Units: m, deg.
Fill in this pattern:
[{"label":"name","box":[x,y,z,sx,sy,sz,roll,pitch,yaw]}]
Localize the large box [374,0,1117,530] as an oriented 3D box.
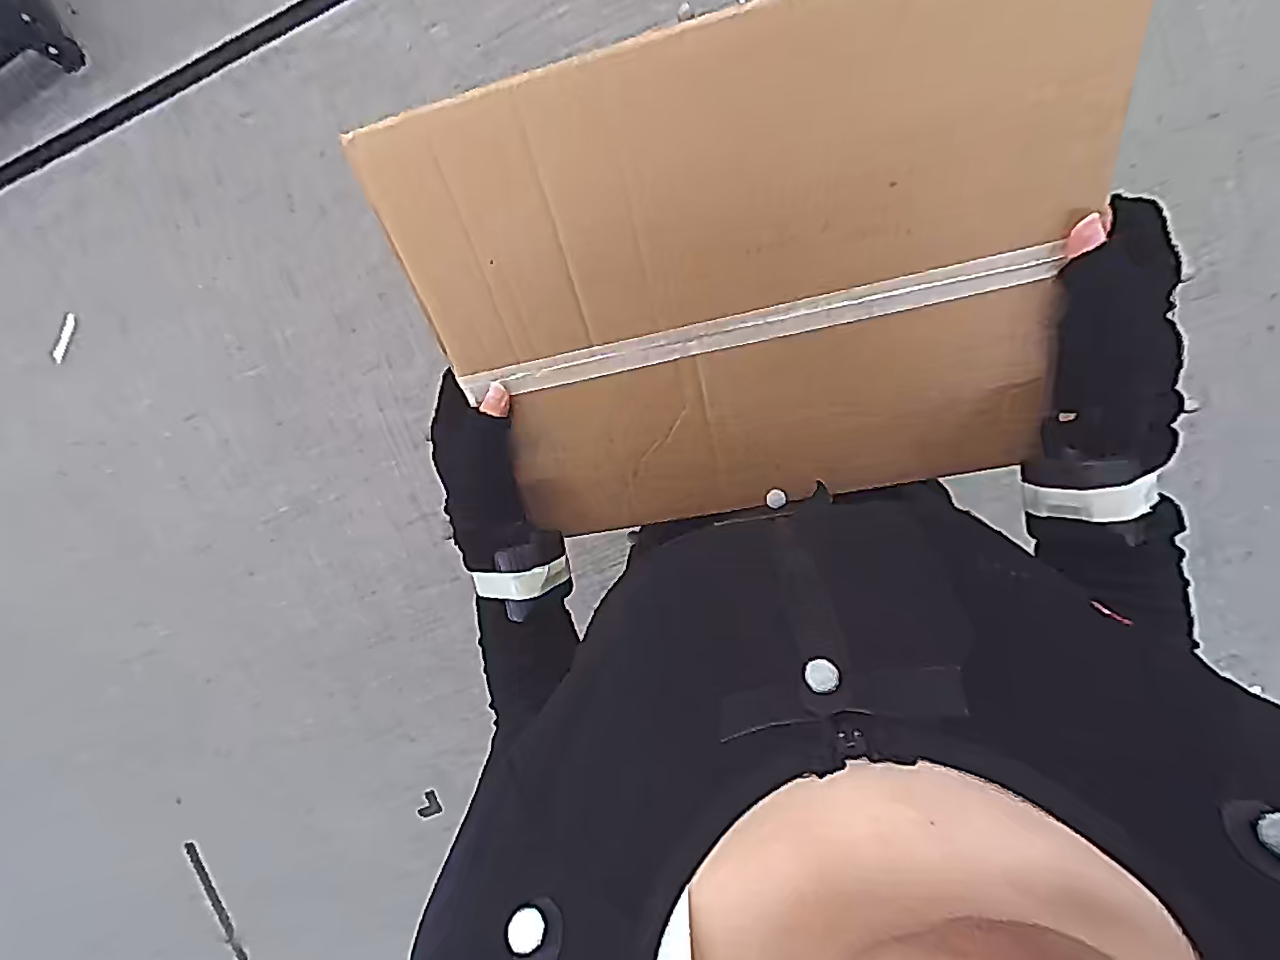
[{"label":"large box","box":[0.075,-0.198,0.484,0.408,0.320,0.320,-10,127,10]}]
